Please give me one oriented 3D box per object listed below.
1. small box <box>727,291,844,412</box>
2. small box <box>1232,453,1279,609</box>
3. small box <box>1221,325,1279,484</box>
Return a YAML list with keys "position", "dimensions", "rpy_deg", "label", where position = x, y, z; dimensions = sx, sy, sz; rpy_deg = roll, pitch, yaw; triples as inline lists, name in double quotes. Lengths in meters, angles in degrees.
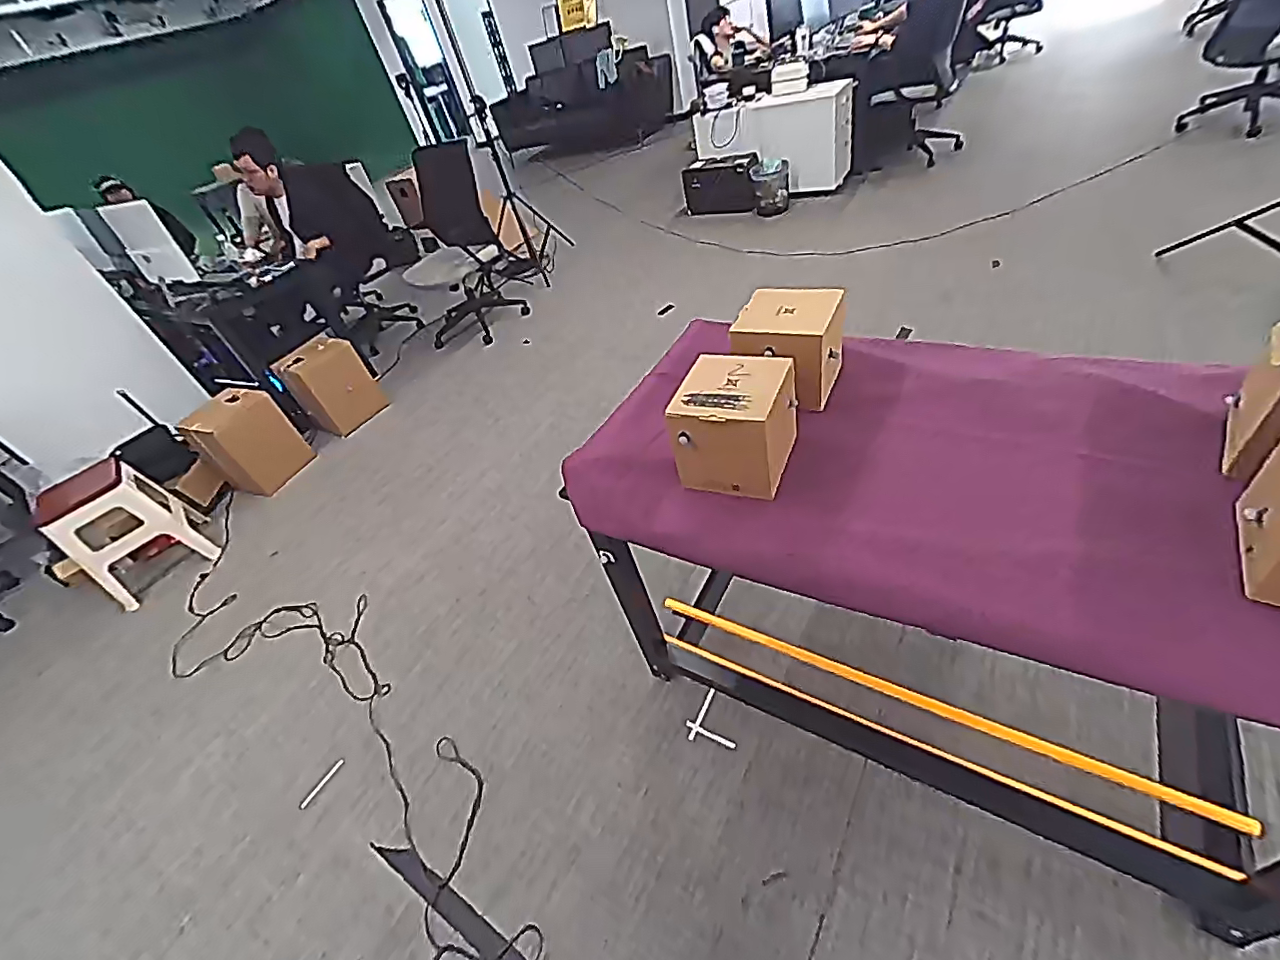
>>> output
- position: [0.290, -0.251, 1.061]
  dimensions: [0.179, 0.176, 0.168]
  rpy_deg: [11, 49, 28]
  label: "small box"
- position: [0.784, 0.048, 0.566]
  dimensions: [0.179, 0.176, 0.168]
  rpy_deg: [15, 49, 33]
  label: "small box"
- position: [0.886, -0.085, 0.676]
  dimensions: [0.179, 0.176, 0.168]
  rpy_deg: [21, 55, 34]
  label: "small box"
